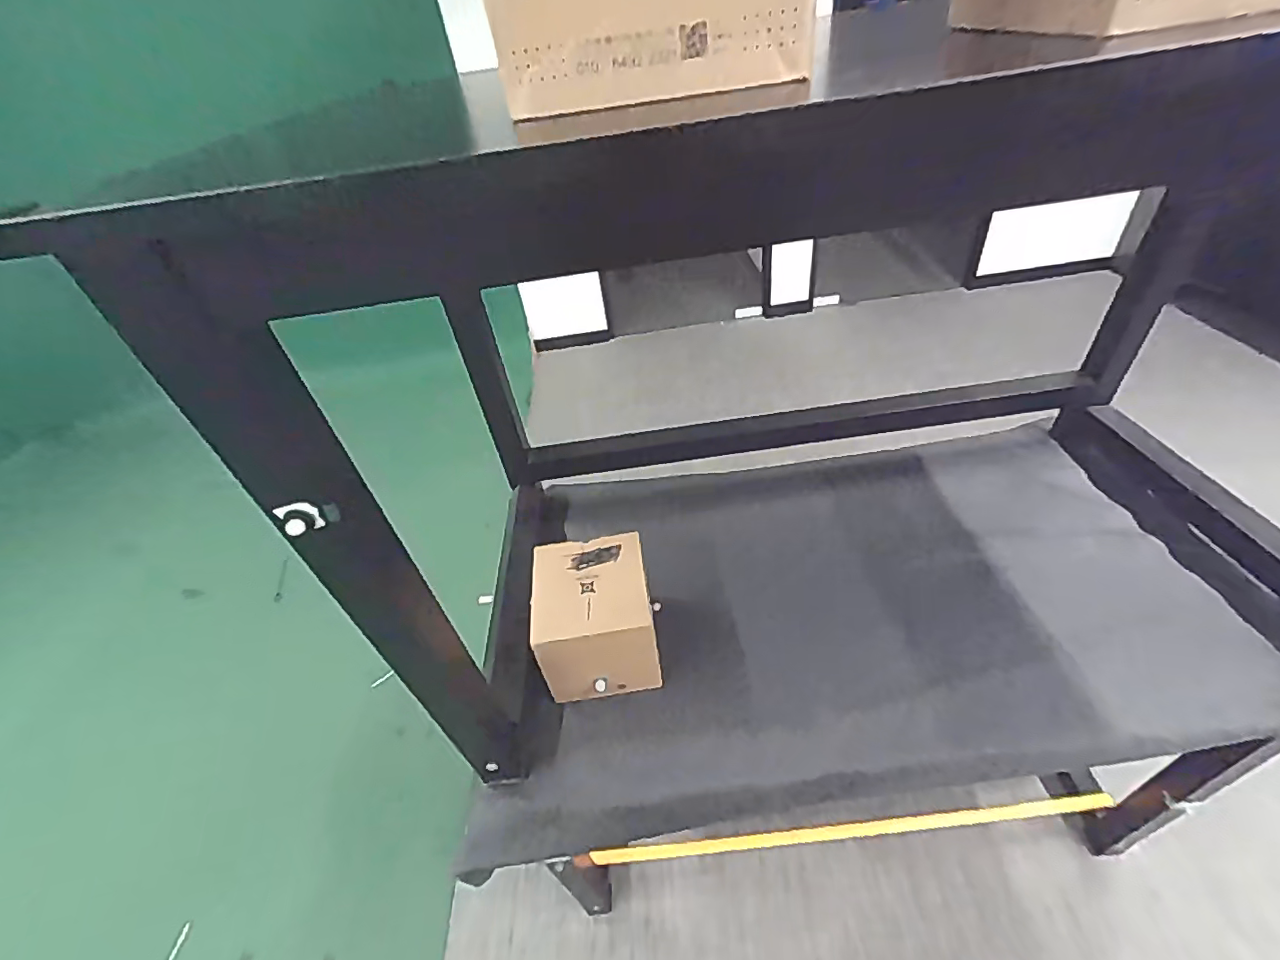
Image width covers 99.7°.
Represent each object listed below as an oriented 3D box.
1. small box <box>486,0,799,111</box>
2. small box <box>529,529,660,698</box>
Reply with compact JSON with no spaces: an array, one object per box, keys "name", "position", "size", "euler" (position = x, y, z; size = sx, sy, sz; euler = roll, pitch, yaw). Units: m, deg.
[{"name":"small box","position":[-0.003,-0.326,0.309],"size":[0.168,0.176,0.179],"euler":[-5,40,5]},{"name":"small box","position":[-0.065,0.203,0.828],"size":[0.168,0.176,0.179],"euler":[-9,41,0]}]
